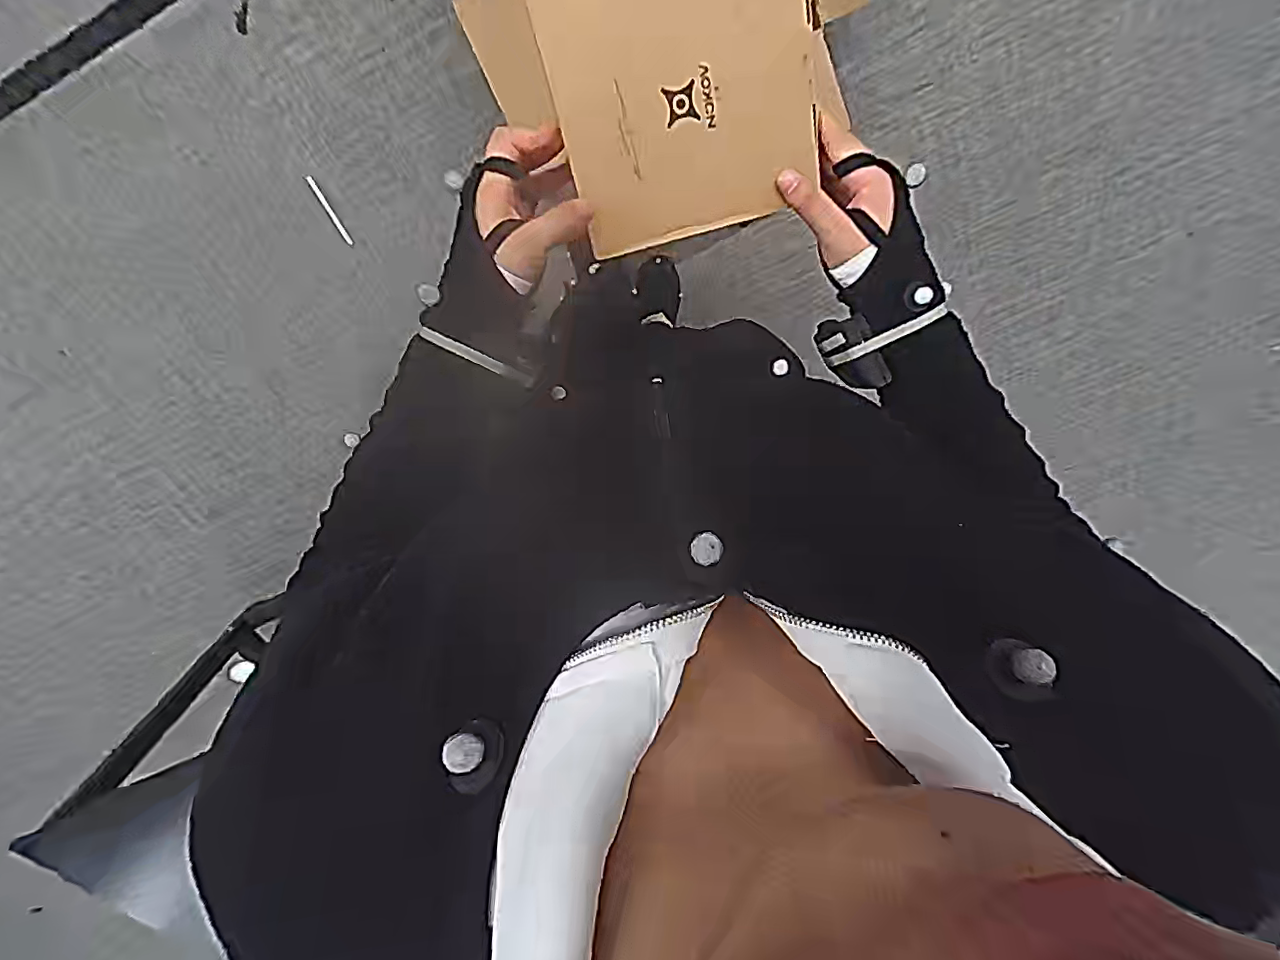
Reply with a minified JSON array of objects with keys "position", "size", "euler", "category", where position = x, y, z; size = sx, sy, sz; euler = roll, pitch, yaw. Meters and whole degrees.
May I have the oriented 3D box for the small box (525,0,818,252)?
[{"position":[0.025,-0.300,0.433],"size":[0.179,0.176,0.168],"euler":[-14,119,6],"category":"small box"}]
